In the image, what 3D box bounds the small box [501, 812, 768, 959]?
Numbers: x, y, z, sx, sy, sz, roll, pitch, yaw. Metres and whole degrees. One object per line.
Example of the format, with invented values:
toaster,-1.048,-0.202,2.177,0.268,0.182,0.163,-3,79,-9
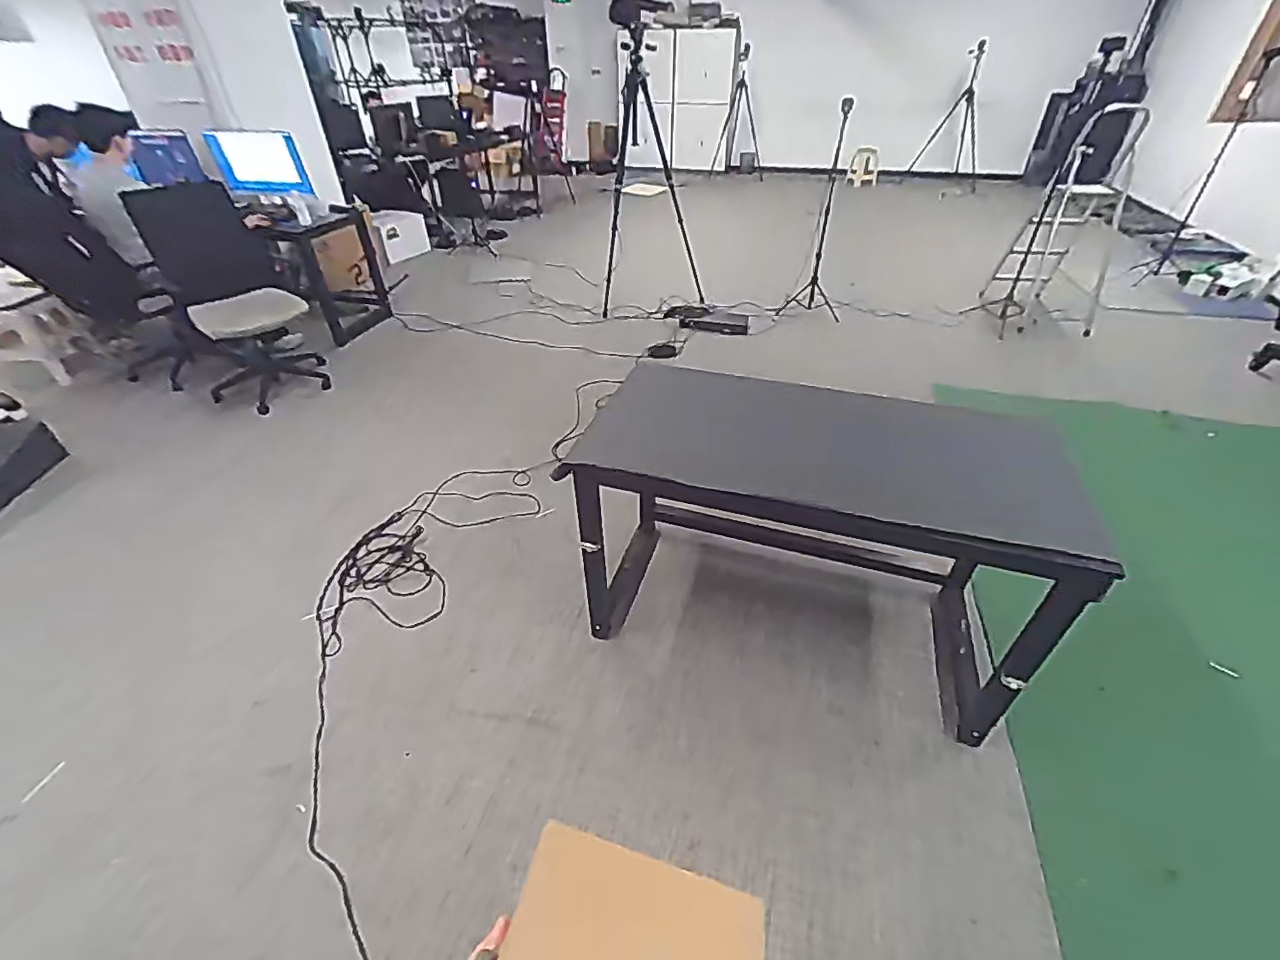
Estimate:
small box,-0.024,0.375,0.363,0.168,0.176,0.179,18,35,4
